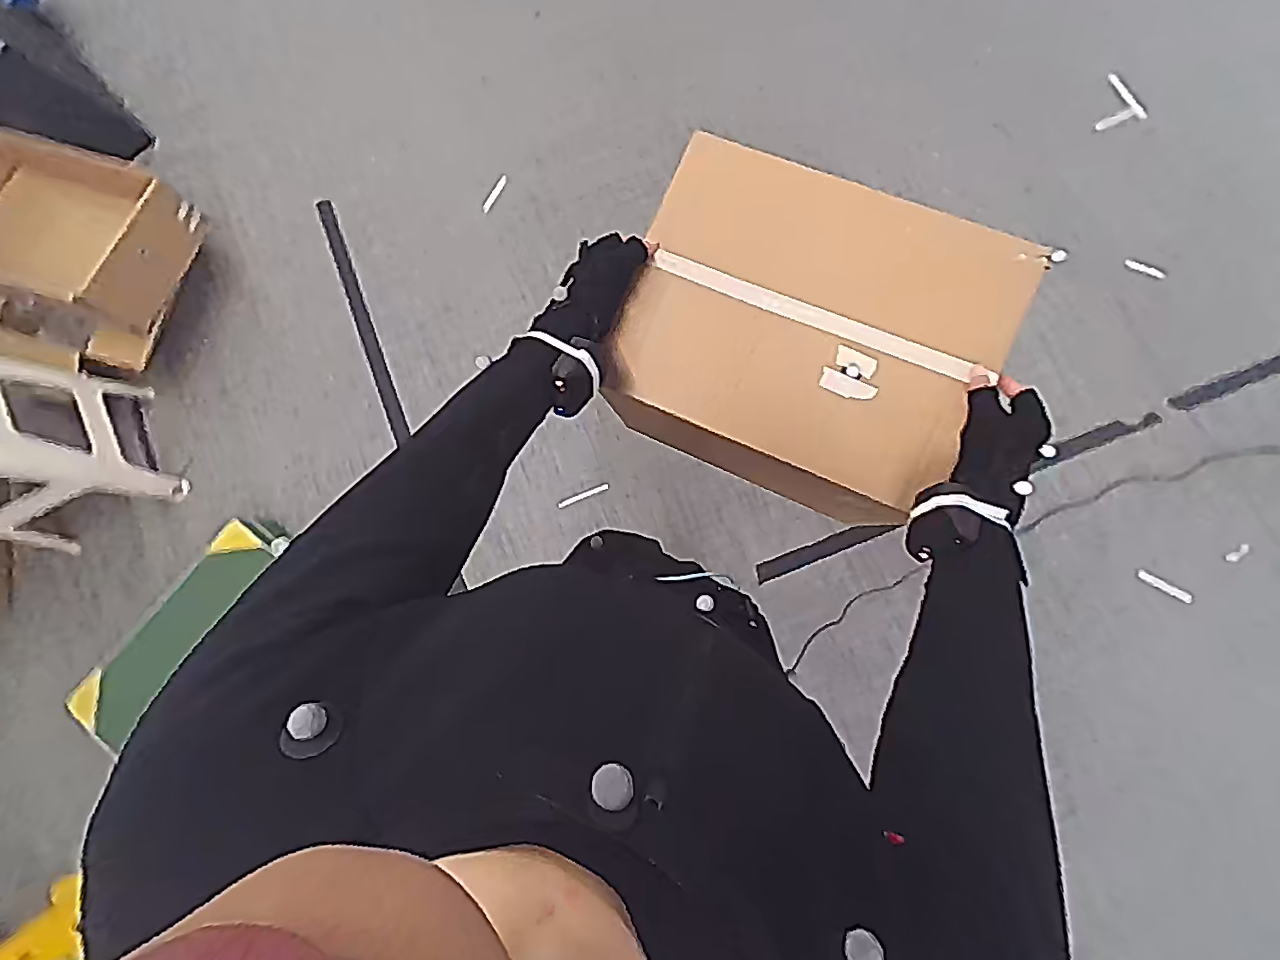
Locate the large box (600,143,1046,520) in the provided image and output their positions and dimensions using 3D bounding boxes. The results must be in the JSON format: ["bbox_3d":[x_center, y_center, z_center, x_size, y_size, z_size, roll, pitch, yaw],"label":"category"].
[{"bbox_3d":[0.208,-0.166,0.743,0.408,0.320,0.320,25,89,8],"label":"large box"}]
